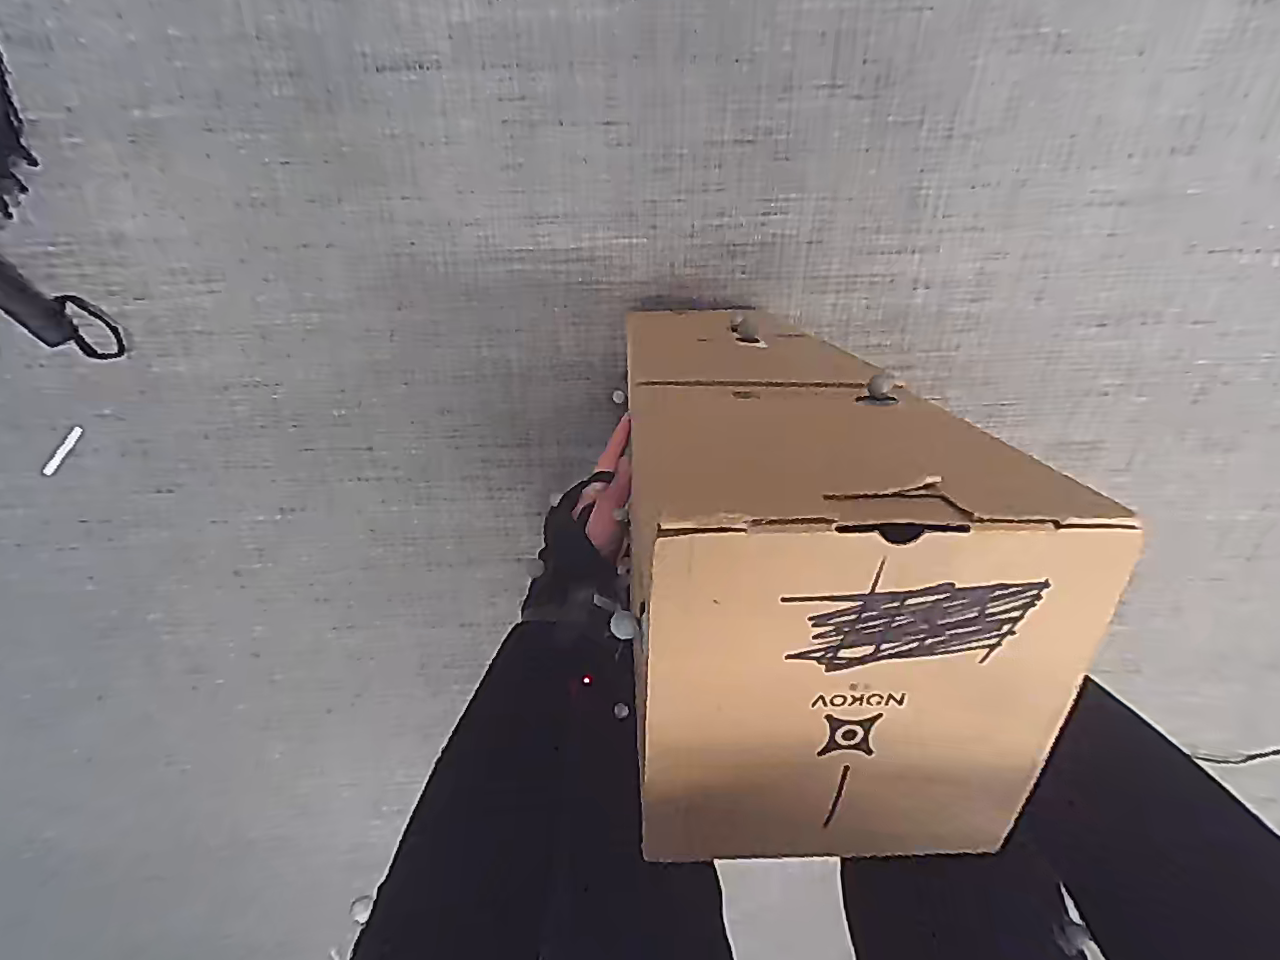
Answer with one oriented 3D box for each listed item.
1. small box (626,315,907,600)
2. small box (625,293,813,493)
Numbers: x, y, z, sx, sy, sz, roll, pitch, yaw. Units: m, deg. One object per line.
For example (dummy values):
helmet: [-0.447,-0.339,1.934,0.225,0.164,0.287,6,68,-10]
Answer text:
small box: [0.073,-0.027,0.420,0.168,0.176,0.179,0,113,-1]
small box: [0.068,-0.093,0.567,0.168,0.176,0.179,0,115,-2]
